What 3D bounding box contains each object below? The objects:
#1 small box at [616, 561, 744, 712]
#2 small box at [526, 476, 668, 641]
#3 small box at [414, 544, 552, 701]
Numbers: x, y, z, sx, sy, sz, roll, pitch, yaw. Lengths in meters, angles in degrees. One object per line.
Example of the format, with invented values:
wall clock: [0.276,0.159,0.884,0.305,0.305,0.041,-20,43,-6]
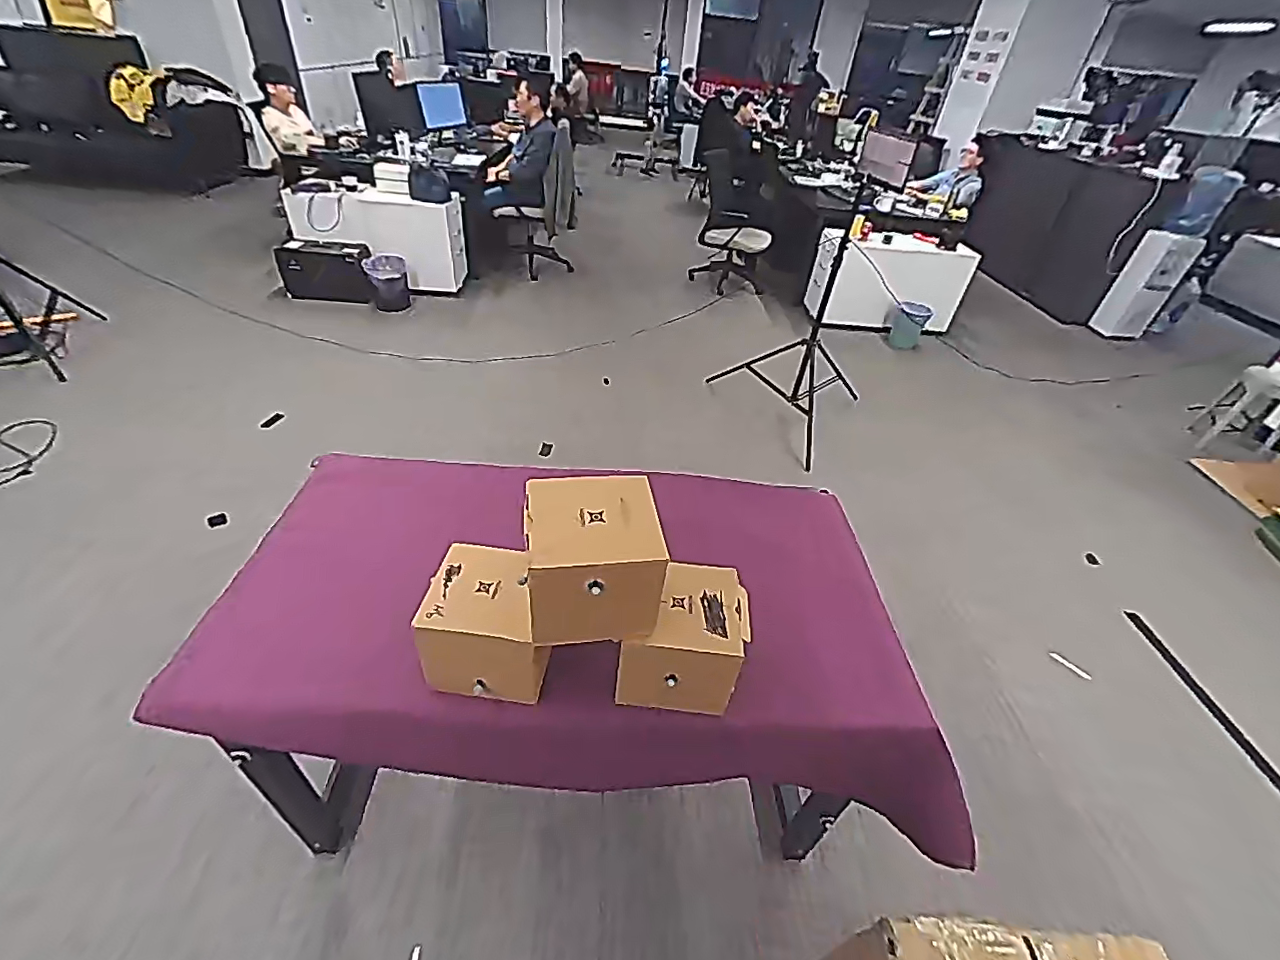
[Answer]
small box: [0.060,0.252,0.874,0.179,0.176,0.168,6,38,1]
small box: [-0.068,0.112,0.770,0.179,0.176,0.168,-2,41,-11]
small box: [-0.231,0.229,0.862,0.179,0.176,0.168,8,38,0]
